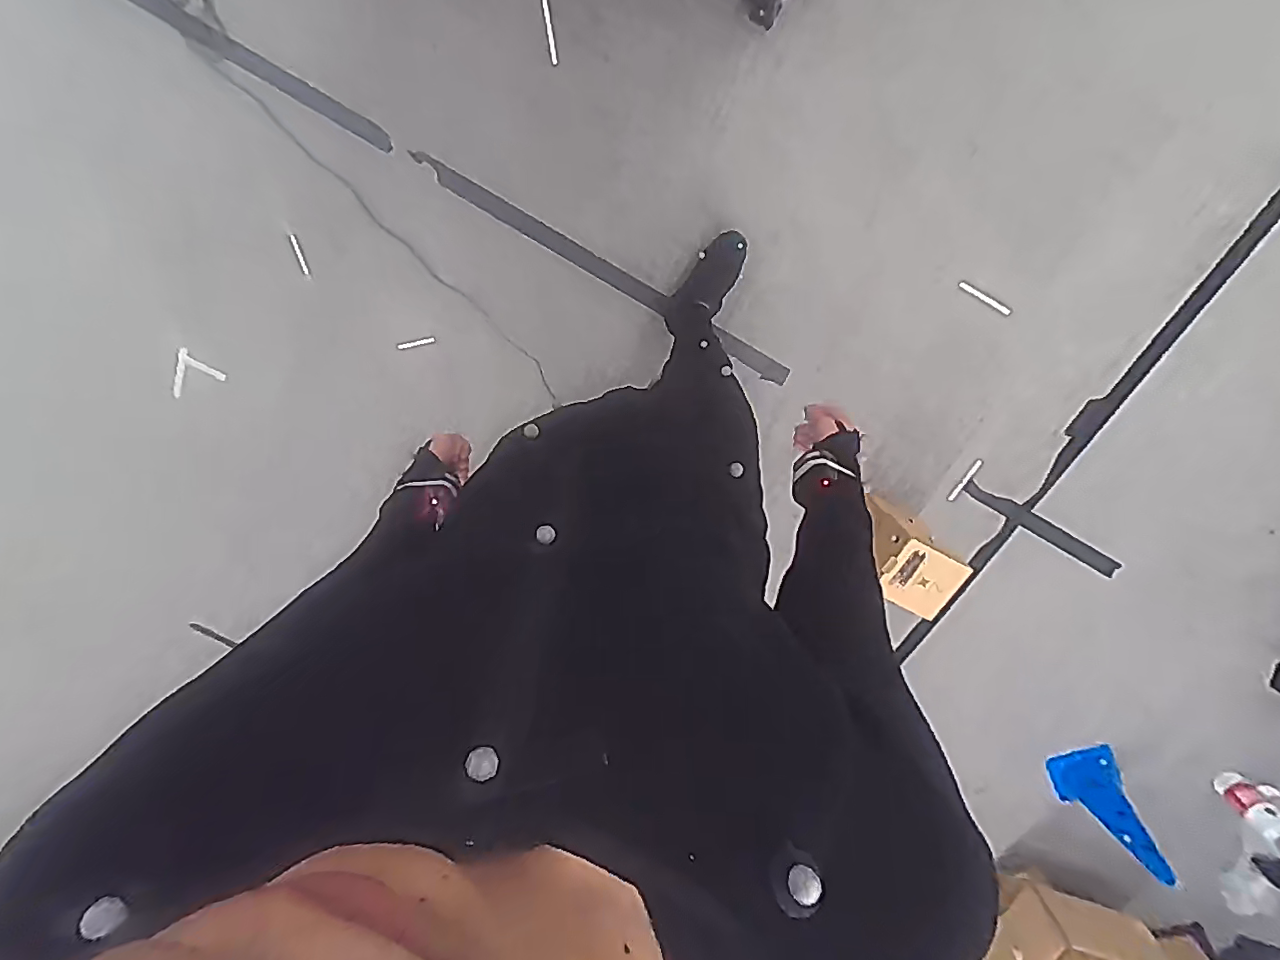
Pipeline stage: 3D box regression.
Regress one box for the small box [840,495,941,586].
[{"bbox_3d":[0.701,0.164,1.533,0.179,0.176,0.168,26,110,-2],"label":"small box"}]
